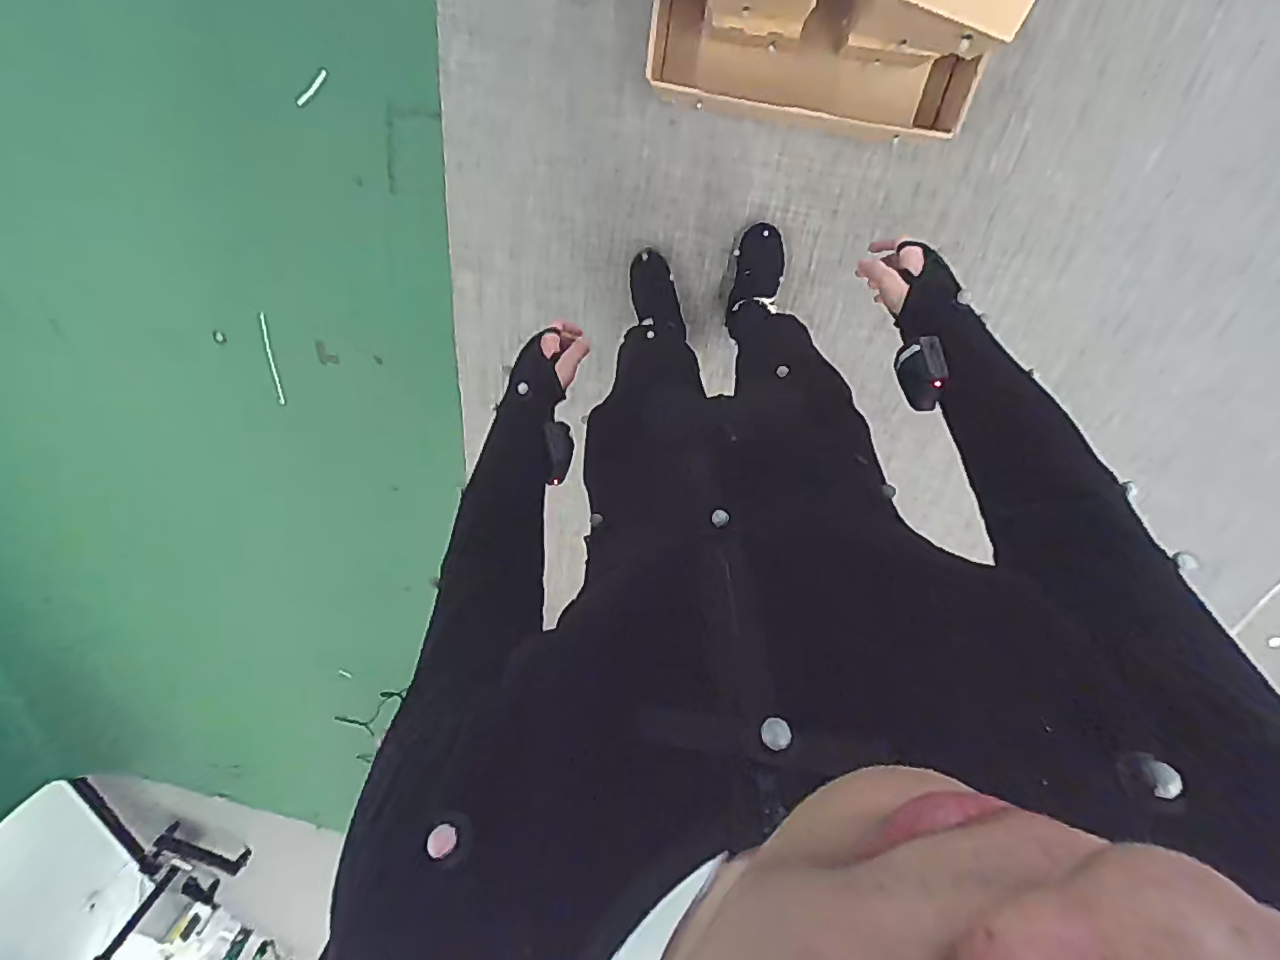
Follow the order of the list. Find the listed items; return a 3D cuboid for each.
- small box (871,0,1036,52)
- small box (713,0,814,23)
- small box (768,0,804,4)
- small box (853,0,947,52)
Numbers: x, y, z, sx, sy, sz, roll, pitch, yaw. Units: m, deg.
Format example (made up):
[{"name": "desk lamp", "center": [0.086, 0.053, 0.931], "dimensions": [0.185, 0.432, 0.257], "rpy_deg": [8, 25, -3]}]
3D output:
[{"name": "small box", "center": [0.435, -0.695, 0.712], "dimensions": [0.179, 0.176, 0.168], "rpy_deg": [22, 123, -1]}, {"name": "small box", "center": [0.210, -0.859, 0.861], "dimensions": [0.168, 0.176, 0.179], "rpy_deg": [9, 122, 4]}, {"name": "small box", "center": [0.175, -0.771, 0.725], "dimensions": [0.179, 0.176, 0.168], "rpy_deg": [11, 122, 2]}, {"name": "small box", "center": [0.457, -0.794, 0.844], "dimensions": [0.179, 0.176, 0.168], "rpy_deg": [15, 123, 4]}]
